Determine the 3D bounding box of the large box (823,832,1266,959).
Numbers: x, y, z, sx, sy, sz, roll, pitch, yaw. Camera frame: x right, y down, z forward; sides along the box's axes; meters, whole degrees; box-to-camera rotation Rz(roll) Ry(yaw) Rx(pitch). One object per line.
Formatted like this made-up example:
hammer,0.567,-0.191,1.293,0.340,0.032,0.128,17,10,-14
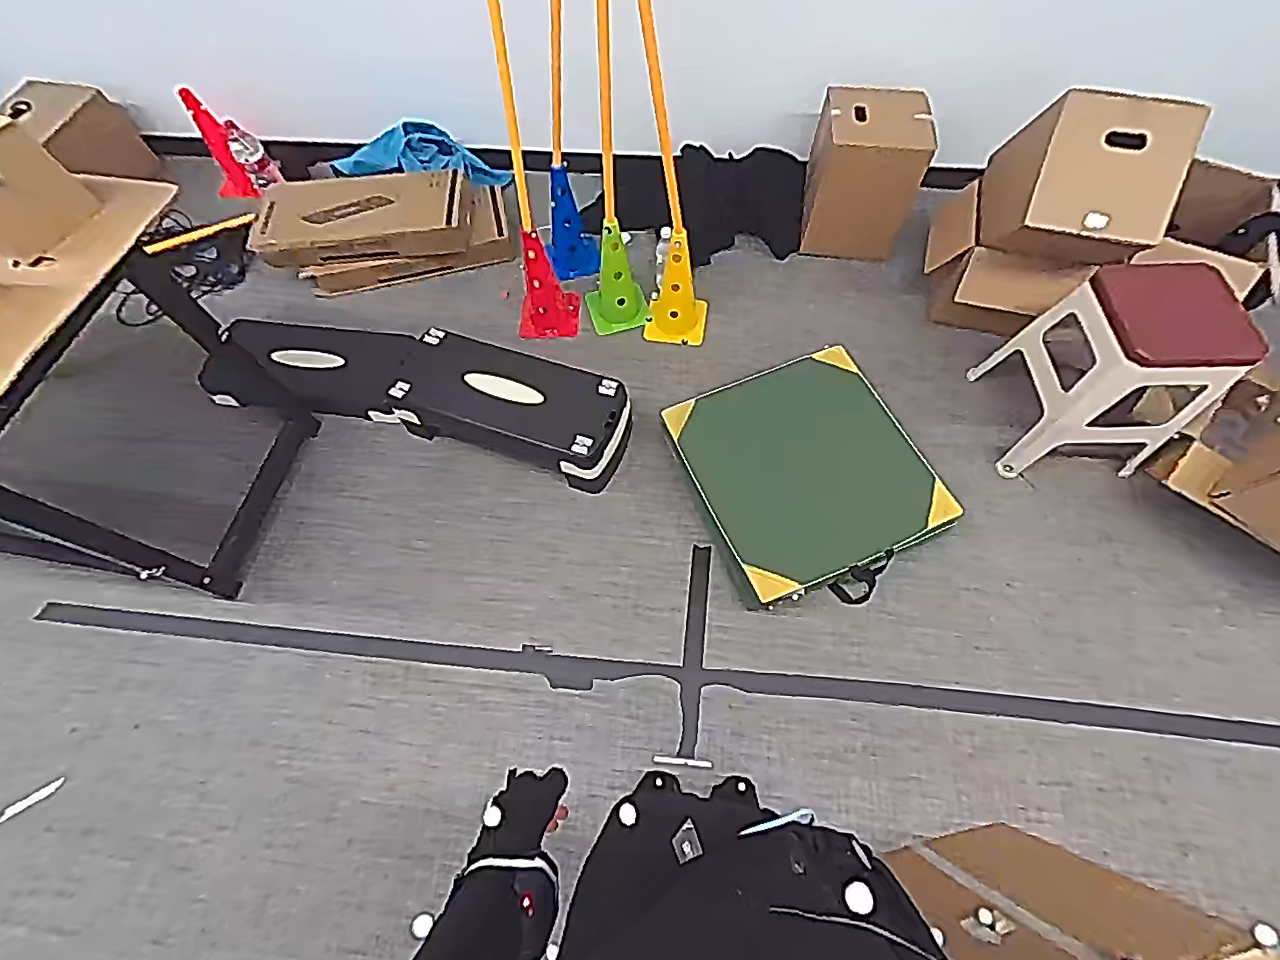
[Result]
large box,0.474,0.685,0.642,0.320,0.408,0.320,-13,73,-5
